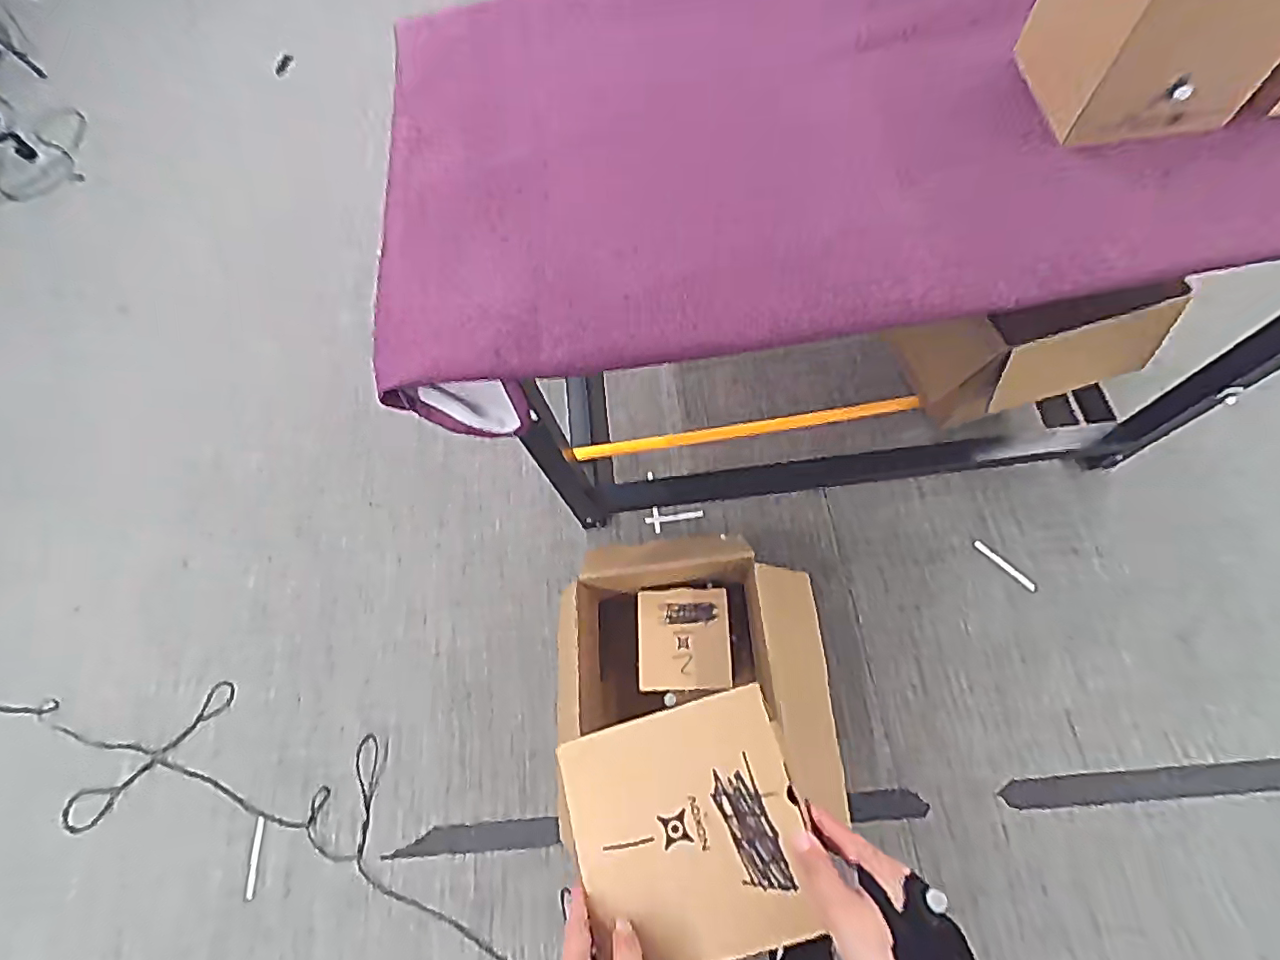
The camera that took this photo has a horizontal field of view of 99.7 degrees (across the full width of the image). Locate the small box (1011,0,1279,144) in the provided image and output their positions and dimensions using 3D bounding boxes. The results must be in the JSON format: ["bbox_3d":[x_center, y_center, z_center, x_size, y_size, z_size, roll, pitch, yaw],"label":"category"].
[{"bbox_3d":[0.519,-0.481,0.546,0.168,0.176,0.179,-5,67,6],"label":"small box"}]

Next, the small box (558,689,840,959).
[{"bbox_3d":[0.046,0.292,0.478,0.179,0.176,0.168,-18,65,1],"label":"small box"}]
